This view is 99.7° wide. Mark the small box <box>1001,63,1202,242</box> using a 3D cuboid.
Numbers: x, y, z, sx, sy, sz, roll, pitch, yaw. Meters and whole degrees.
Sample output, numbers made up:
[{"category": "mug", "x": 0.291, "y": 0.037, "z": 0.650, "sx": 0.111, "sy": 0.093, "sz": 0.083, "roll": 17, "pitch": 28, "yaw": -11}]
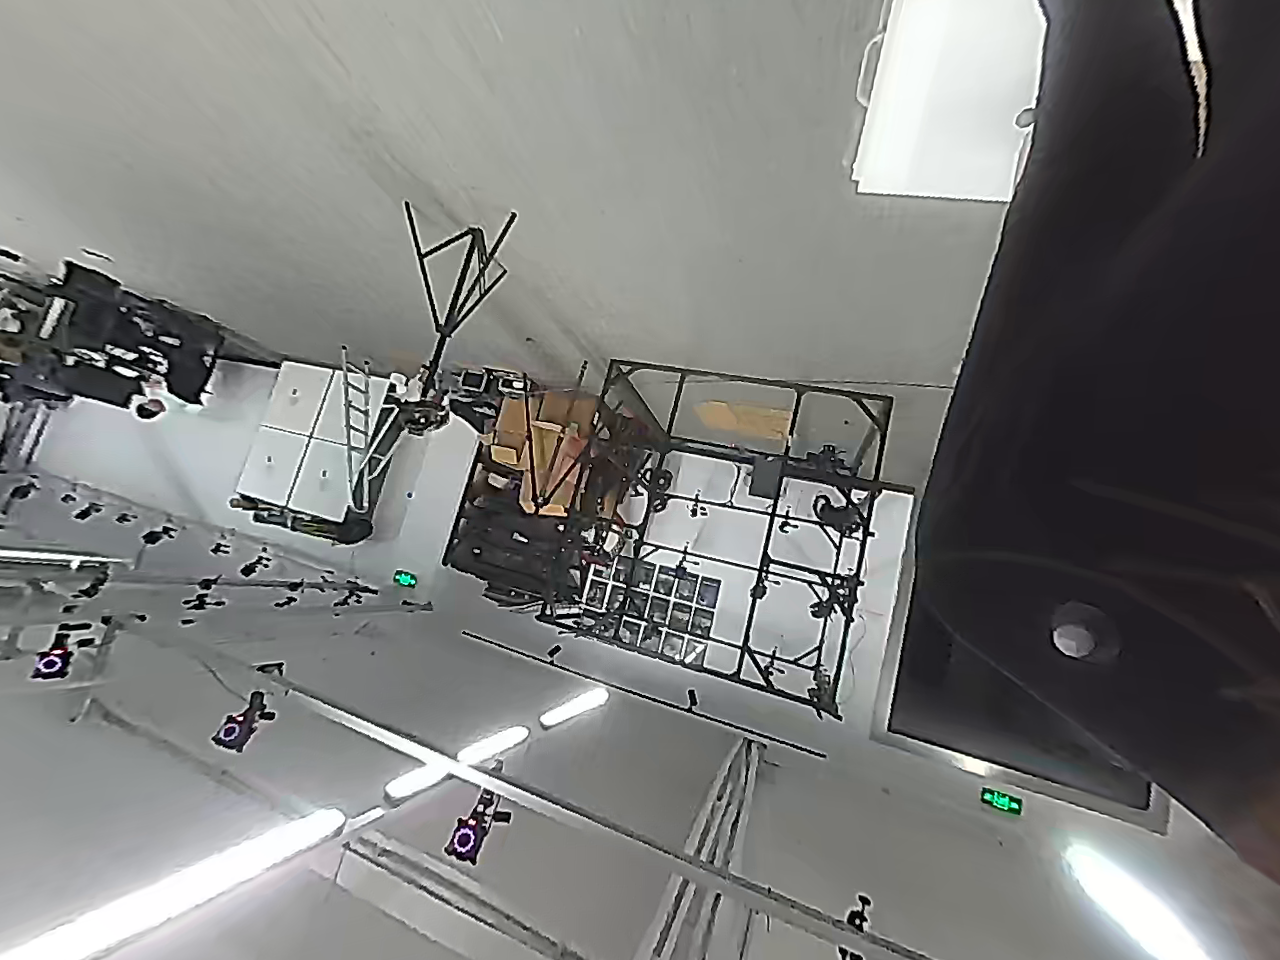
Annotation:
[{"category": "small box", "x": 0.684, "y": -0.487, "z": 0.814, "sx": 0.179, "sy": 0.176, "sz": 0.168, "roll": 12, "pitch": 171, "yaw": 18}]
